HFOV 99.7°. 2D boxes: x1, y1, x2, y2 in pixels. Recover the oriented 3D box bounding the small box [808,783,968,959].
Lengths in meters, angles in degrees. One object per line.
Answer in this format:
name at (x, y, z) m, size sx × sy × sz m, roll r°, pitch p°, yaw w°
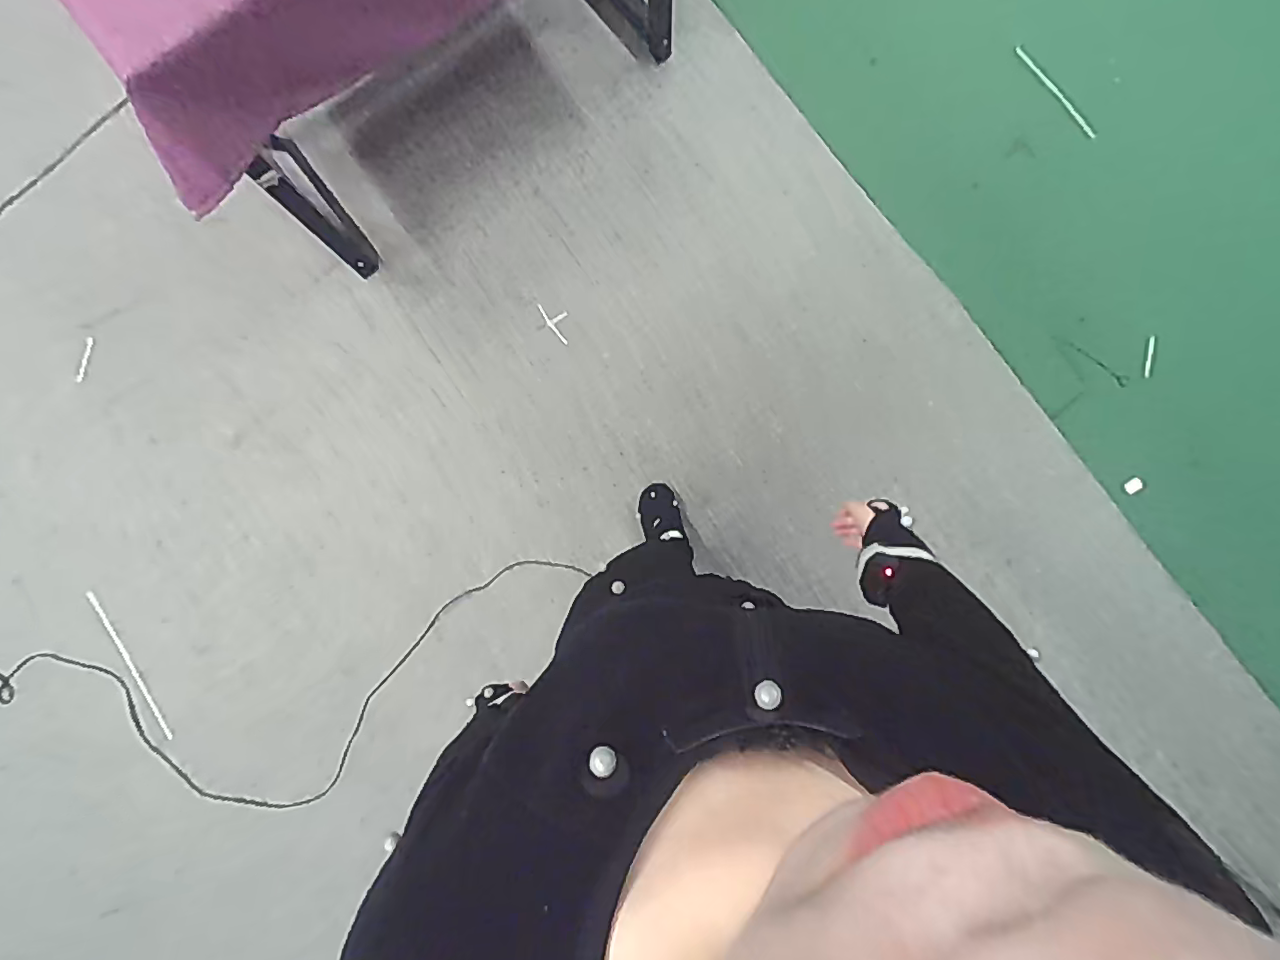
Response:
small box at (0.436, 0.698, 0.980) m, size 0.168 × 0.176 × 0.179 m, roll -31°, pitch 84°, yaw -2°
